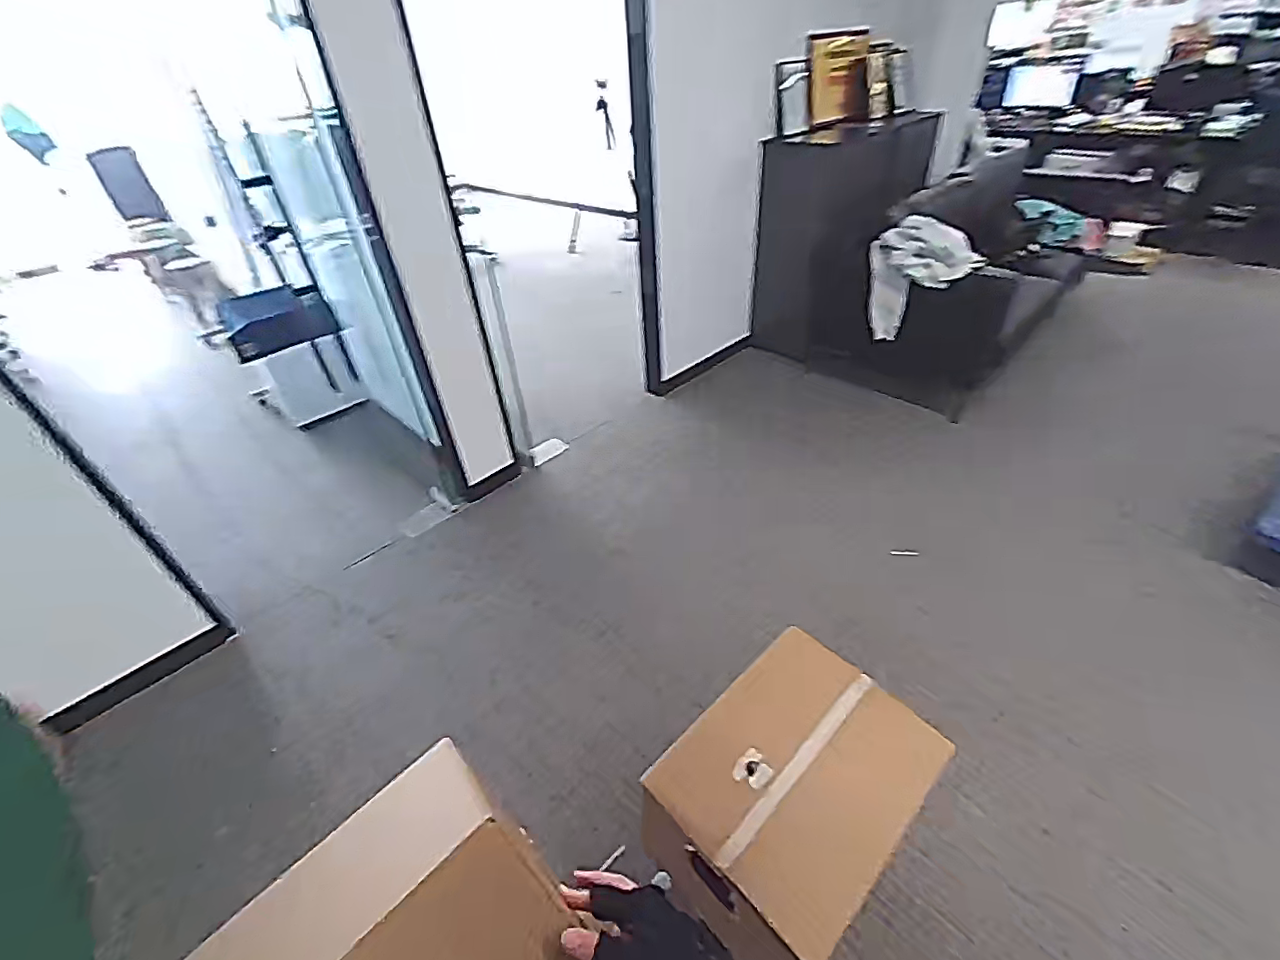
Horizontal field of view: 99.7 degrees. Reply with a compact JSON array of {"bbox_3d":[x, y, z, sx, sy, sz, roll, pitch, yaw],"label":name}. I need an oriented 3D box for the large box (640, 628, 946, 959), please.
[{"bbox_3d":[0.244,0.551,0.937,0.408,0.320,0.320,-33,50,-30],"label":"large box"}]
